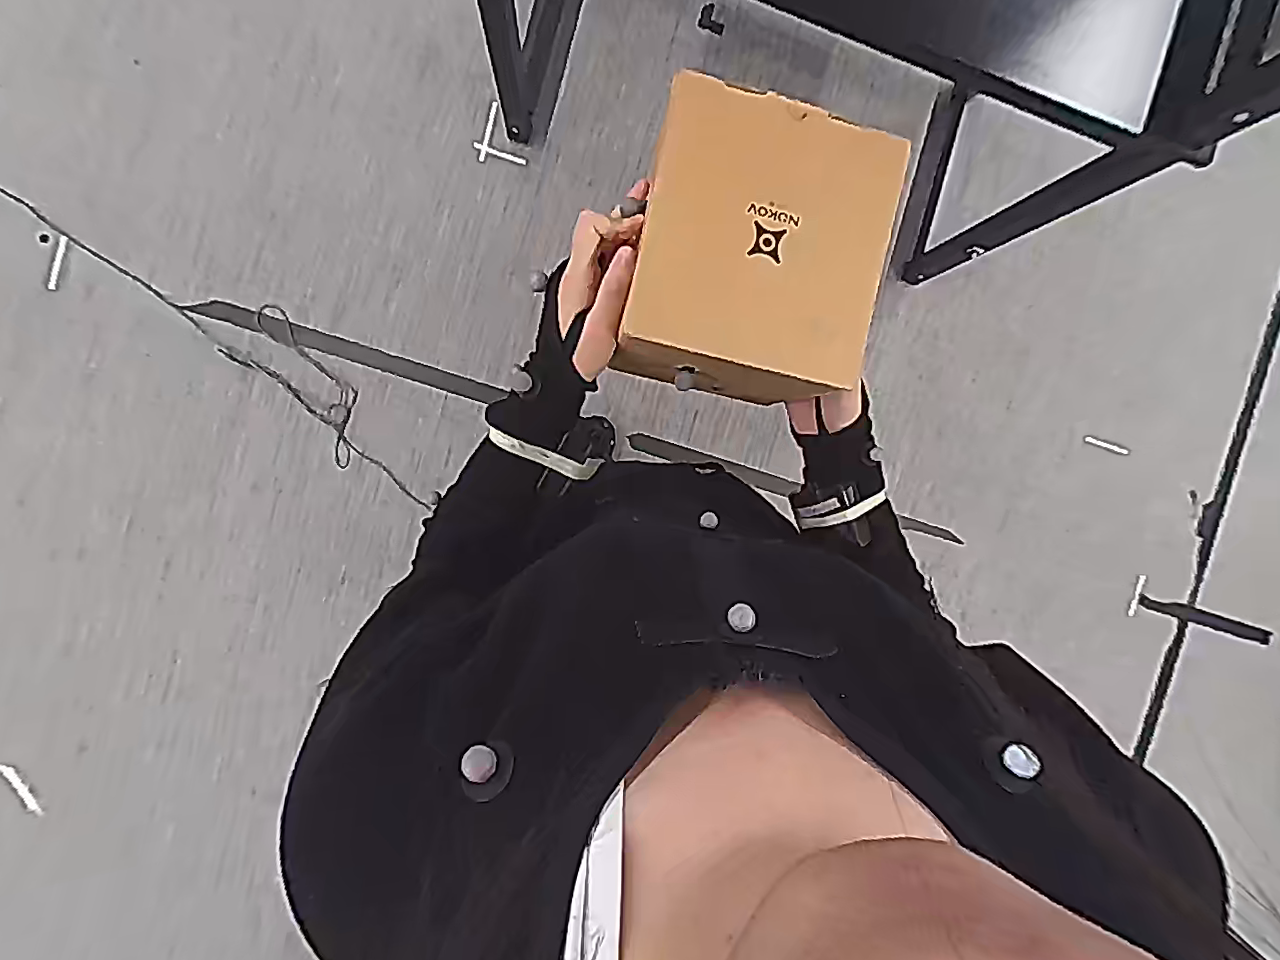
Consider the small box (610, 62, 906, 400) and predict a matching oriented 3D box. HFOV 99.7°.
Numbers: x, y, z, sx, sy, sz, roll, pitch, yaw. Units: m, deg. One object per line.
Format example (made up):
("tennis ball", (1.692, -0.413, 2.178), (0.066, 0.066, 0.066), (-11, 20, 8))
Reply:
("small box", (0.073, -0.169, 0.434), (0.168, 0.176, 0.179), (12, 91, -8))
